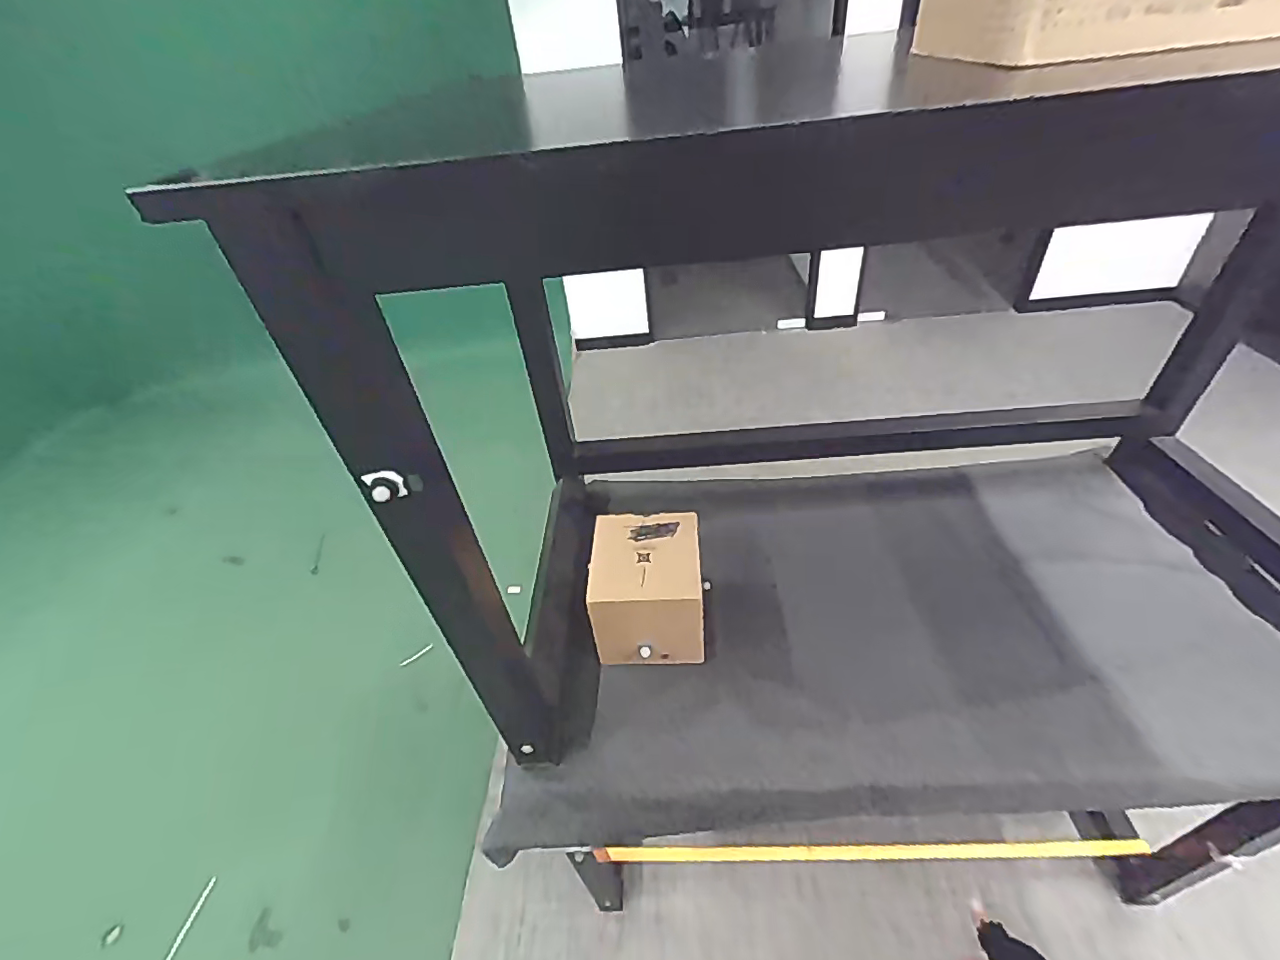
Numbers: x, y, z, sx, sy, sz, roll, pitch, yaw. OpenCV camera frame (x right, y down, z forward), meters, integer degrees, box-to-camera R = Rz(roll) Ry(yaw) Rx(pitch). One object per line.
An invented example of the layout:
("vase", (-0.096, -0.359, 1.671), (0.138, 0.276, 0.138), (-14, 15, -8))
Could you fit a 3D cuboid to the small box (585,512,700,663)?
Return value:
("small box", (0.012, 0.172, 0.872), (0.168, 0.176, 0.179), (-3, 41, 5))
